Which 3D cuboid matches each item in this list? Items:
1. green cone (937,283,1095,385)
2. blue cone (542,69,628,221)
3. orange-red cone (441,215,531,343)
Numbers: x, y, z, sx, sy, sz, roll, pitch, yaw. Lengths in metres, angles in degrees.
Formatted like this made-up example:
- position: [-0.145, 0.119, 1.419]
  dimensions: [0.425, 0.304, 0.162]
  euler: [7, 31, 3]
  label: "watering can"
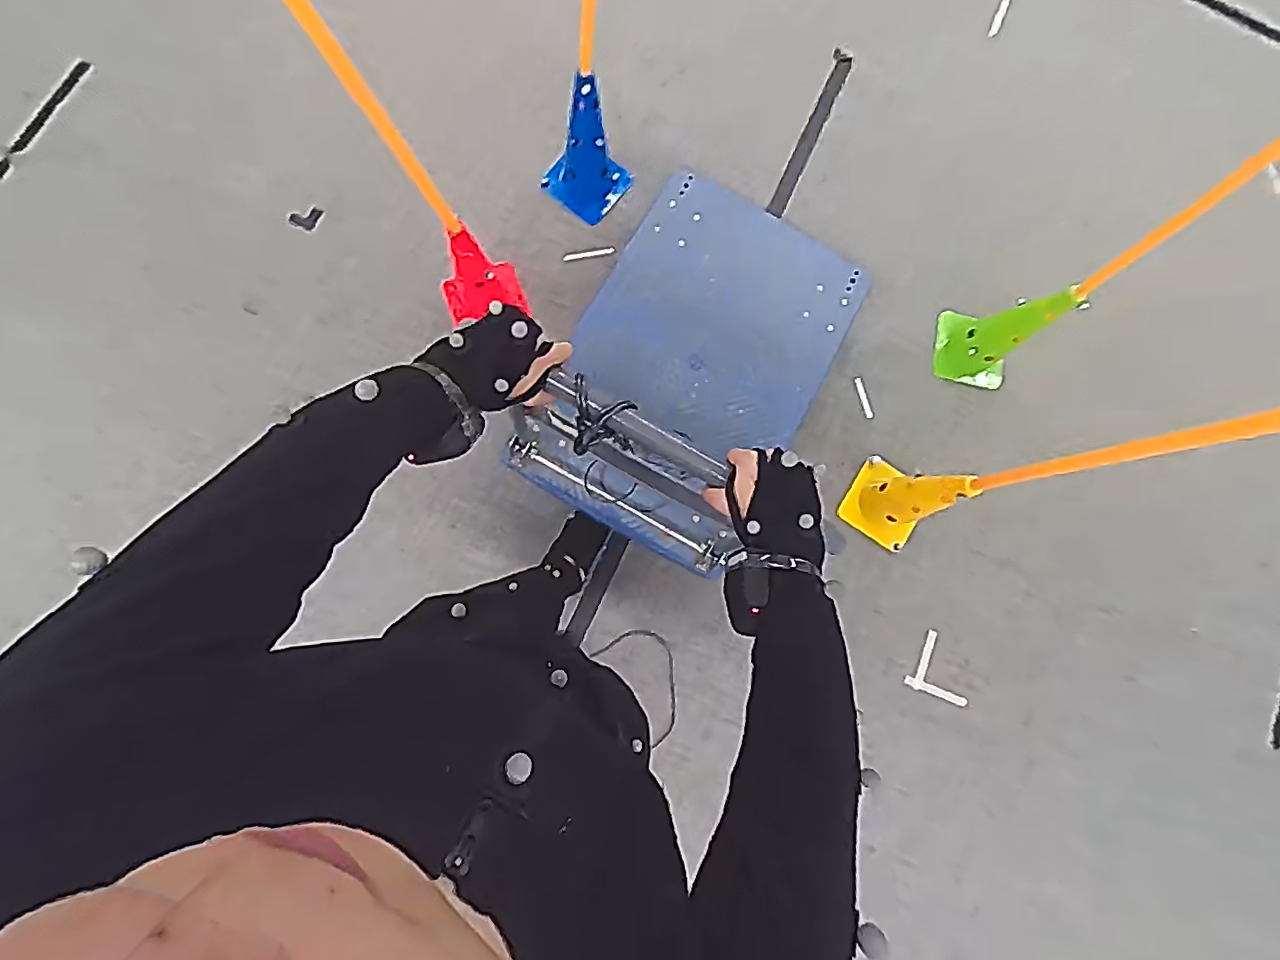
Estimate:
- position: [0.954, -0.396, 1.352]
  dimensions: [0.200, 0.368, 0.202]
  euler: [11, 83, -3]
  label: "green cone"
- position: [-0.137, -0.850, 1.338]
  dimensions: [0.193, 0.380, 0.192]
  euler: [40, 82, 1]
  label: "blue cone"
- position: [-0.387, -0.493, 1.254]
  dimensions: [0.199, 0.360, 0.198]
  euler: [-19, 85, -8]
  label: "orange-red cone"
